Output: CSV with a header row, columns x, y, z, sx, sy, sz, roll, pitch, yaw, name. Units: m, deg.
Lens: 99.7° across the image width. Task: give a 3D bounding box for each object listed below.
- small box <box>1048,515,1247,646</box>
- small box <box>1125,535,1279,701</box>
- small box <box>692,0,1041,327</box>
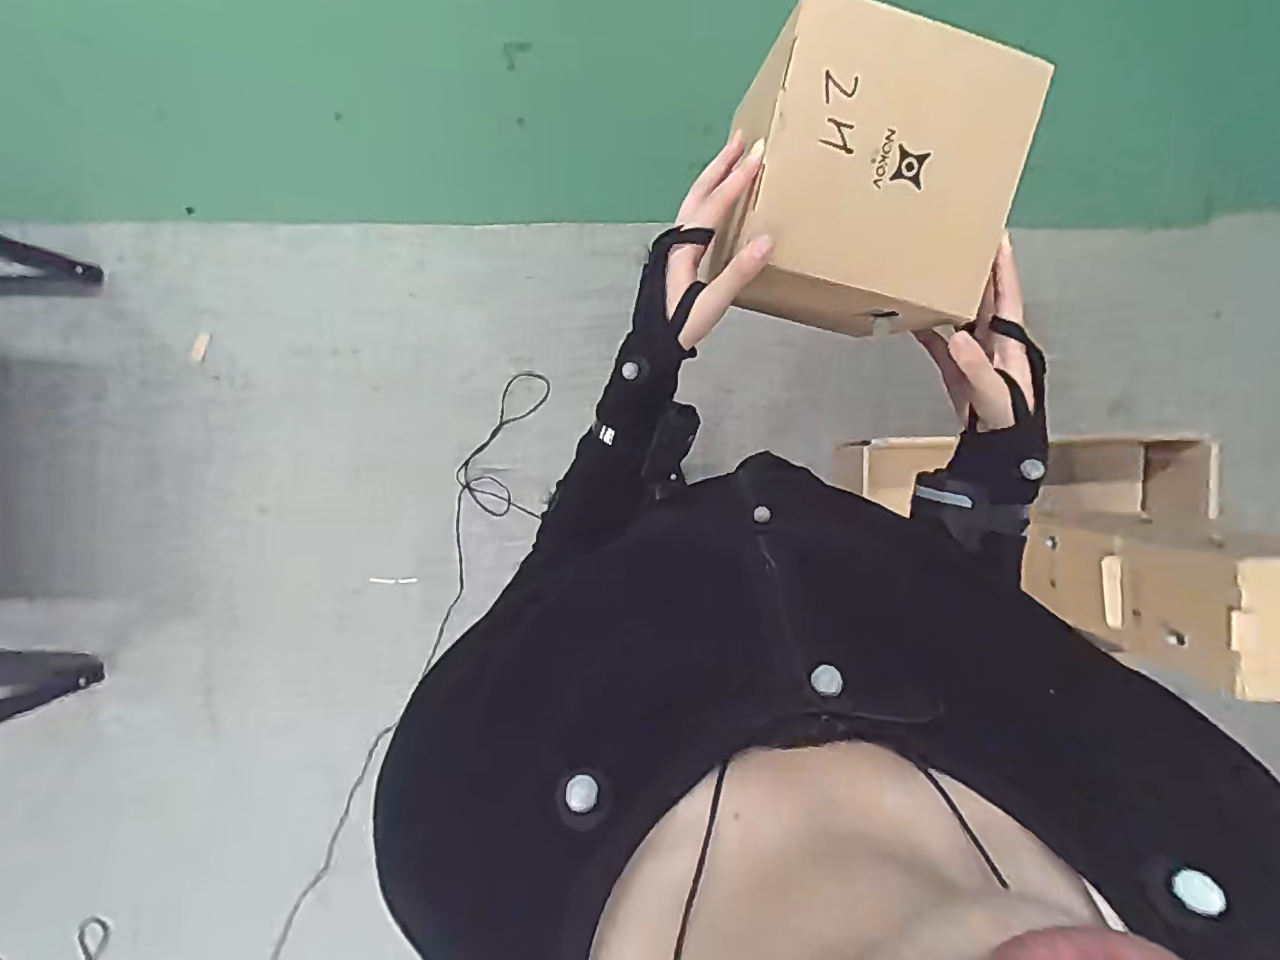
x,y,z,sx,sy,sz,roll,pitch,yaw,name
0.776,0.149,0.845,0.179,0.176,0.168,-5,92,4,small box
0.765,0.163,0.683,0.179,0.176,0.168,-2,93,4,small box
0.154,-0.226,0.432,0.179,0.176,0.168,11,99,-7,small box
